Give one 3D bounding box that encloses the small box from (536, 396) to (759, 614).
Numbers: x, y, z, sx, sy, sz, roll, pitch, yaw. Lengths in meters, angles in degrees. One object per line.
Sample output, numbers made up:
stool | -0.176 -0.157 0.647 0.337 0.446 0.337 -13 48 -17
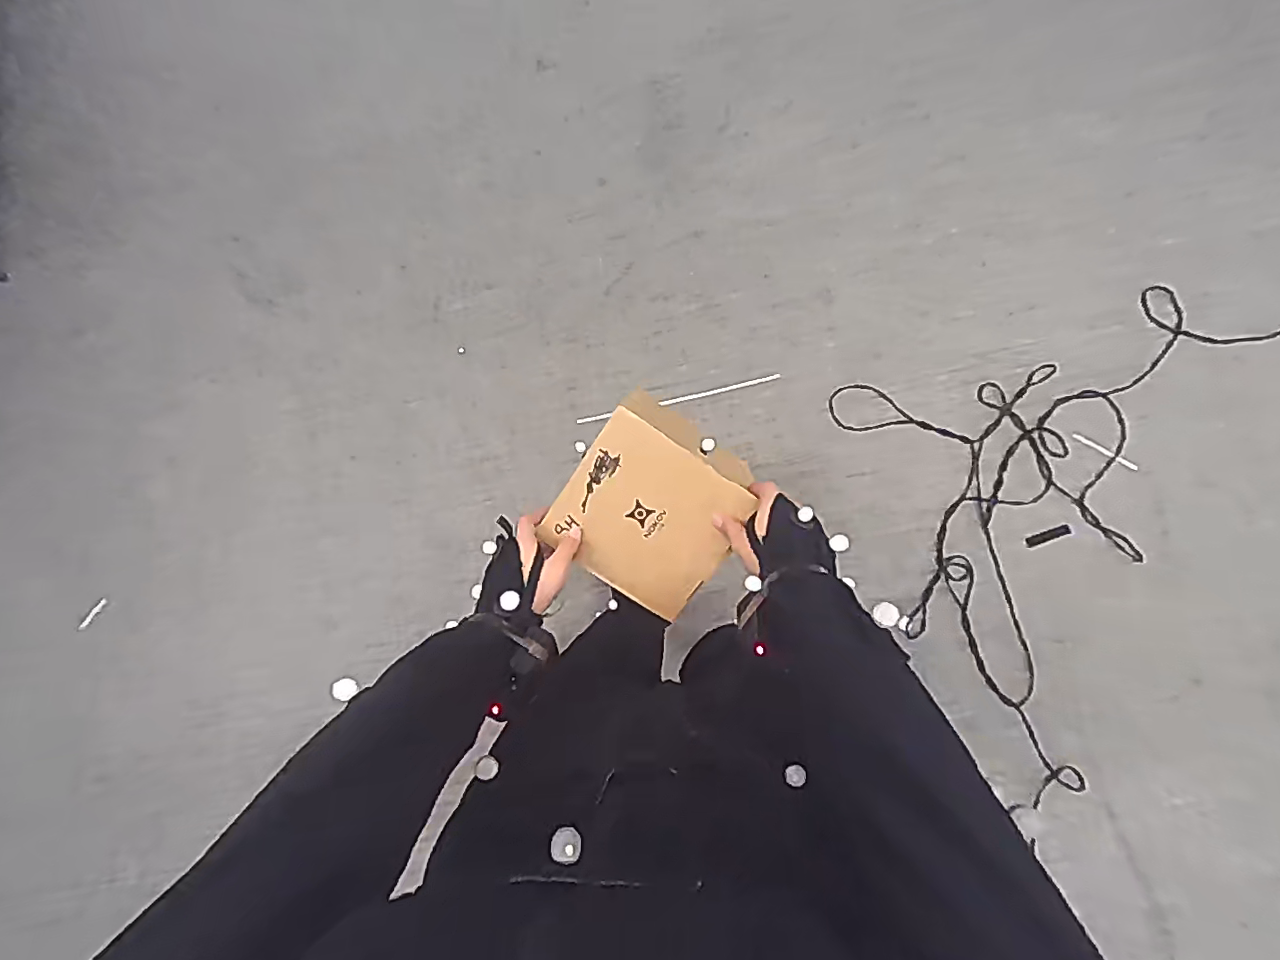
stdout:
small box | 0.011 0.015 0.631 0.179 0.176 0.168 34 103 -5
